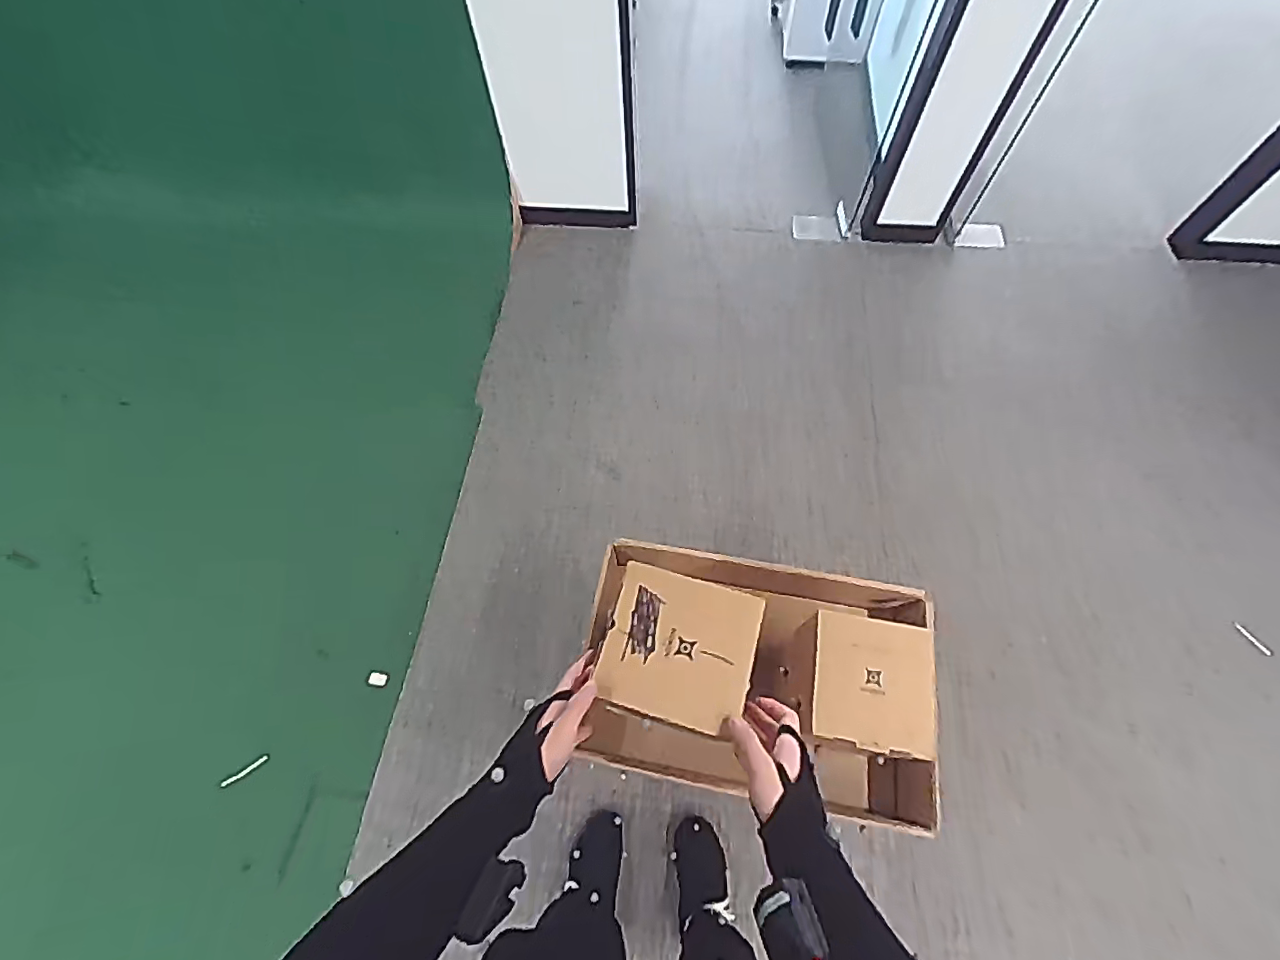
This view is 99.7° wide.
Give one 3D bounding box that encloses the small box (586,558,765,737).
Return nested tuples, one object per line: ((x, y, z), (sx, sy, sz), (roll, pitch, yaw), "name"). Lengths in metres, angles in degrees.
((0.047, 0.223, 0.703), (0.179, 0.176, 0.168), (15, 67, 8), "small box")

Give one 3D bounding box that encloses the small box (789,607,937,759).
((0.333, 0.312, 0.829), (0.168, 0.176, 0.179), (10, 65, 6), "small box")
